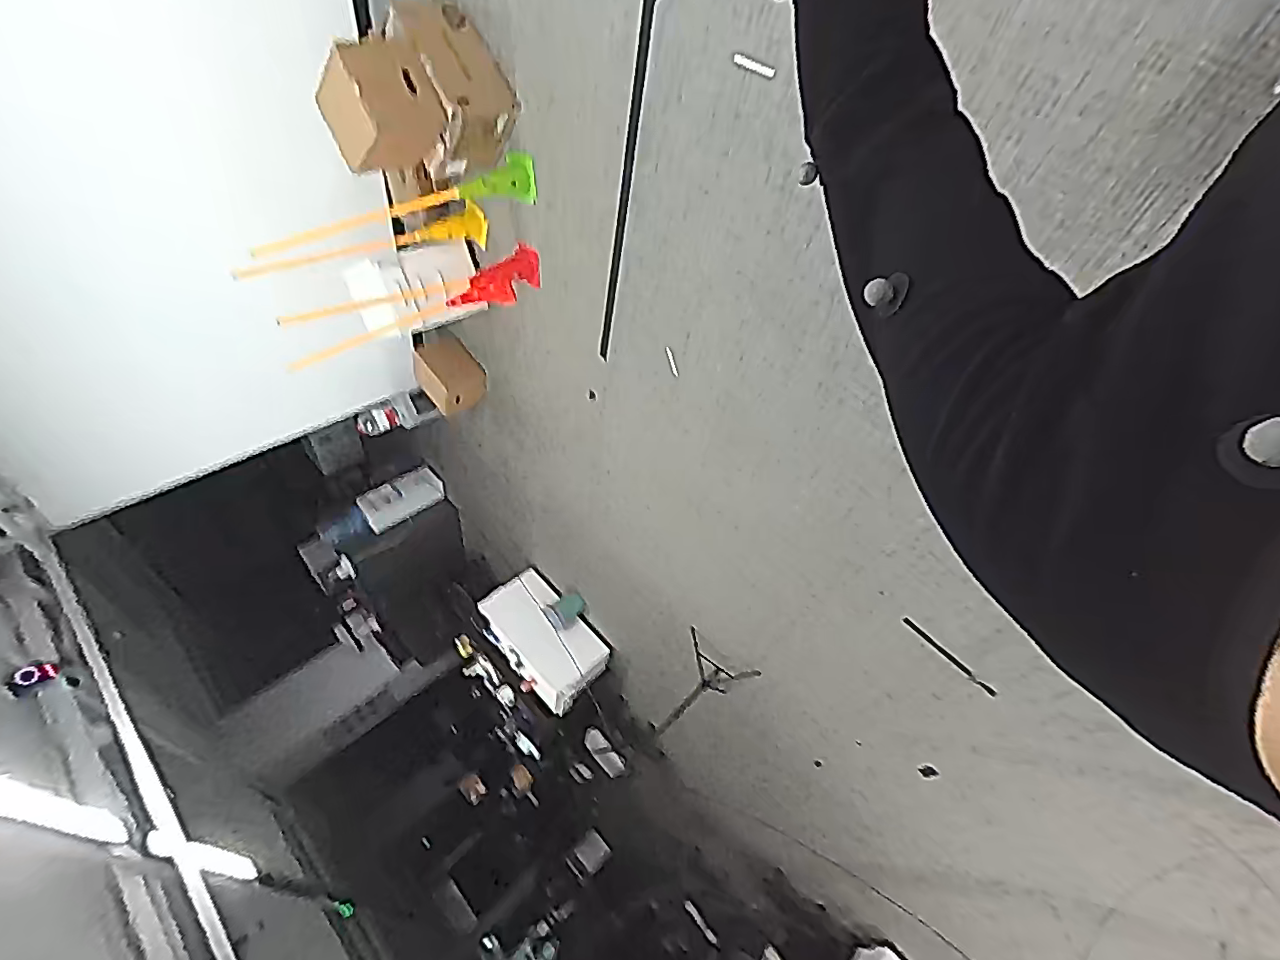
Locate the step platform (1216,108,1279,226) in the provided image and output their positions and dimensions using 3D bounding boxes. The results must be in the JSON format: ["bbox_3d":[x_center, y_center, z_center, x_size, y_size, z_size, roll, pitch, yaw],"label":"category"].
[{"bbox_3d":[1.230,-0.690,0.737,0.286,0.204,0.684,40,142,24],"label":"step platform"}]
